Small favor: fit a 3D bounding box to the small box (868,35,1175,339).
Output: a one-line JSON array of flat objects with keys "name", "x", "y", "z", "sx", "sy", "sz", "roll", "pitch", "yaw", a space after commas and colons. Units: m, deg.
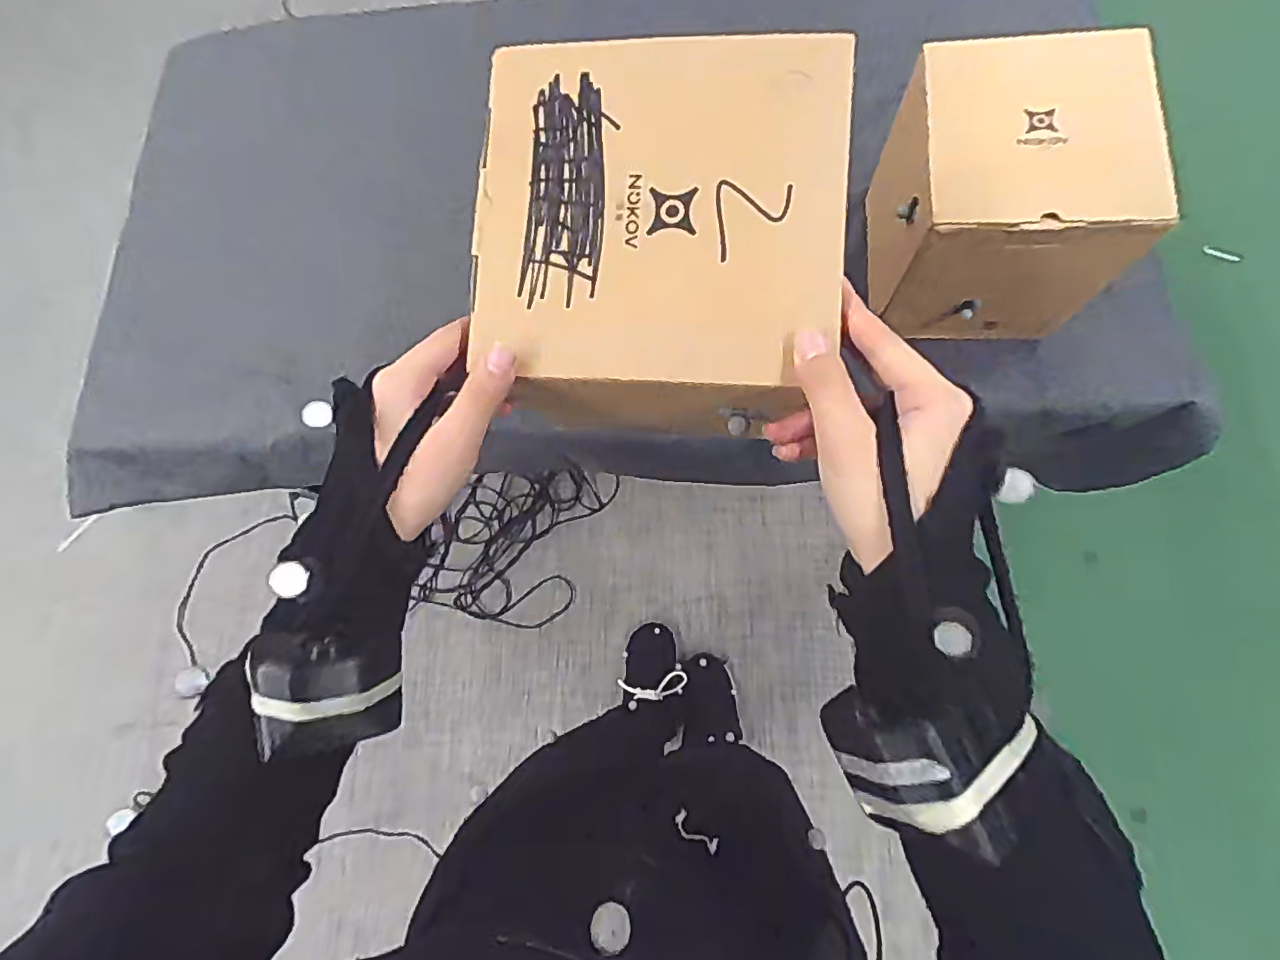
[{"name": "small box", "x": 0.314, "y": -0.249, "z": 0.490, "sx": 0.168, "sy": 0.176, "sz": 0.179, "roll": 2, "pitch": 77, "yaw": 8}]
